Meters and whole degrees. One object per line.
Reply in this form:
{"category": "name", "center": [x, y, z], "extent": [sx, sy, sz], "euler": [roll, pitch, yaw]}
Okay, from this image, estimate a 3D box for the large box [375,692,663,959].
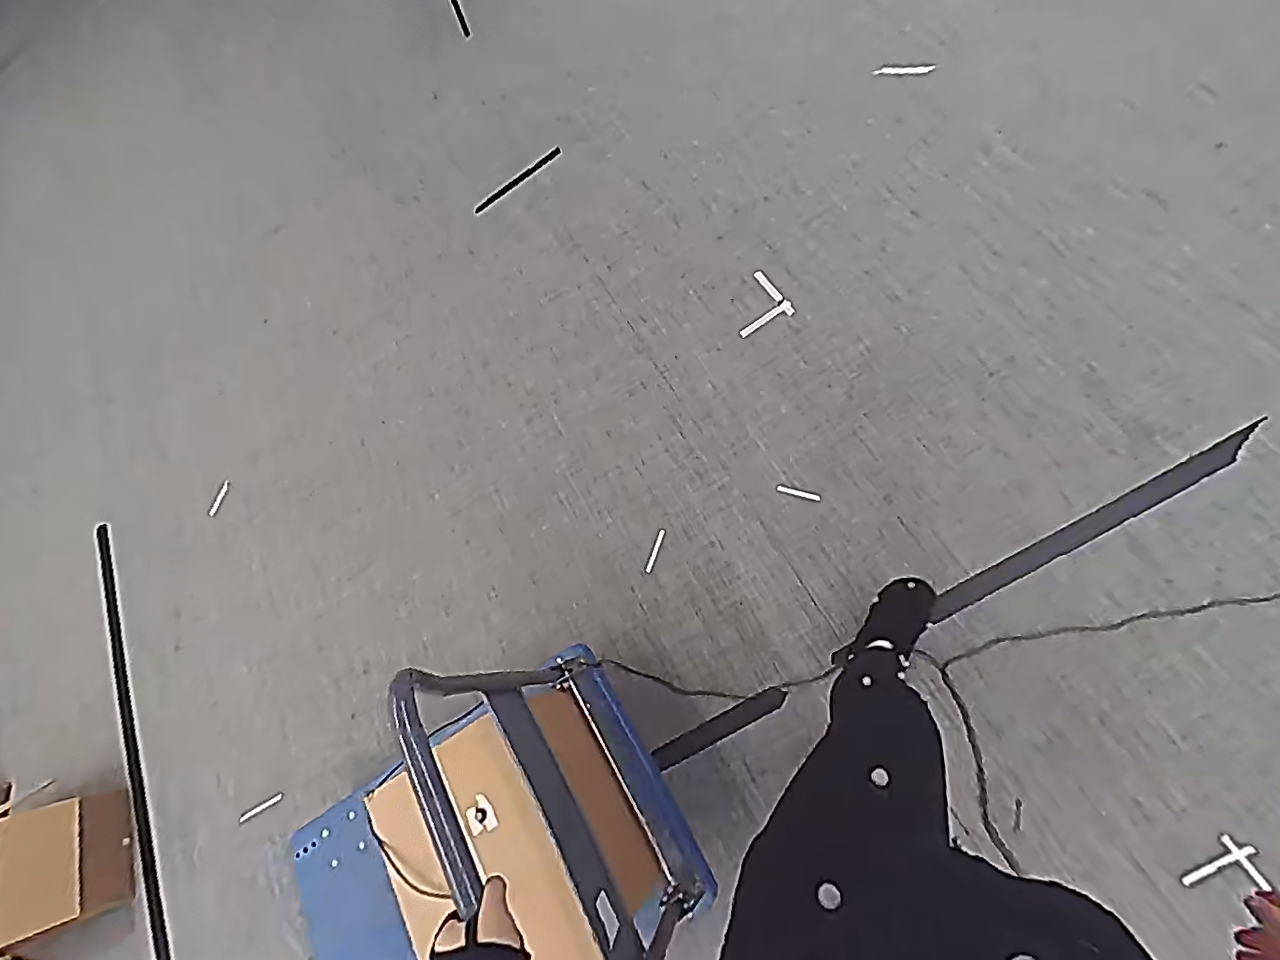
{"category": "large box", "center": [-0.213, 0.678, 1.030], "extent": [0.320, 0.320, 0.408], "euler": [-35, 68, 3]}
